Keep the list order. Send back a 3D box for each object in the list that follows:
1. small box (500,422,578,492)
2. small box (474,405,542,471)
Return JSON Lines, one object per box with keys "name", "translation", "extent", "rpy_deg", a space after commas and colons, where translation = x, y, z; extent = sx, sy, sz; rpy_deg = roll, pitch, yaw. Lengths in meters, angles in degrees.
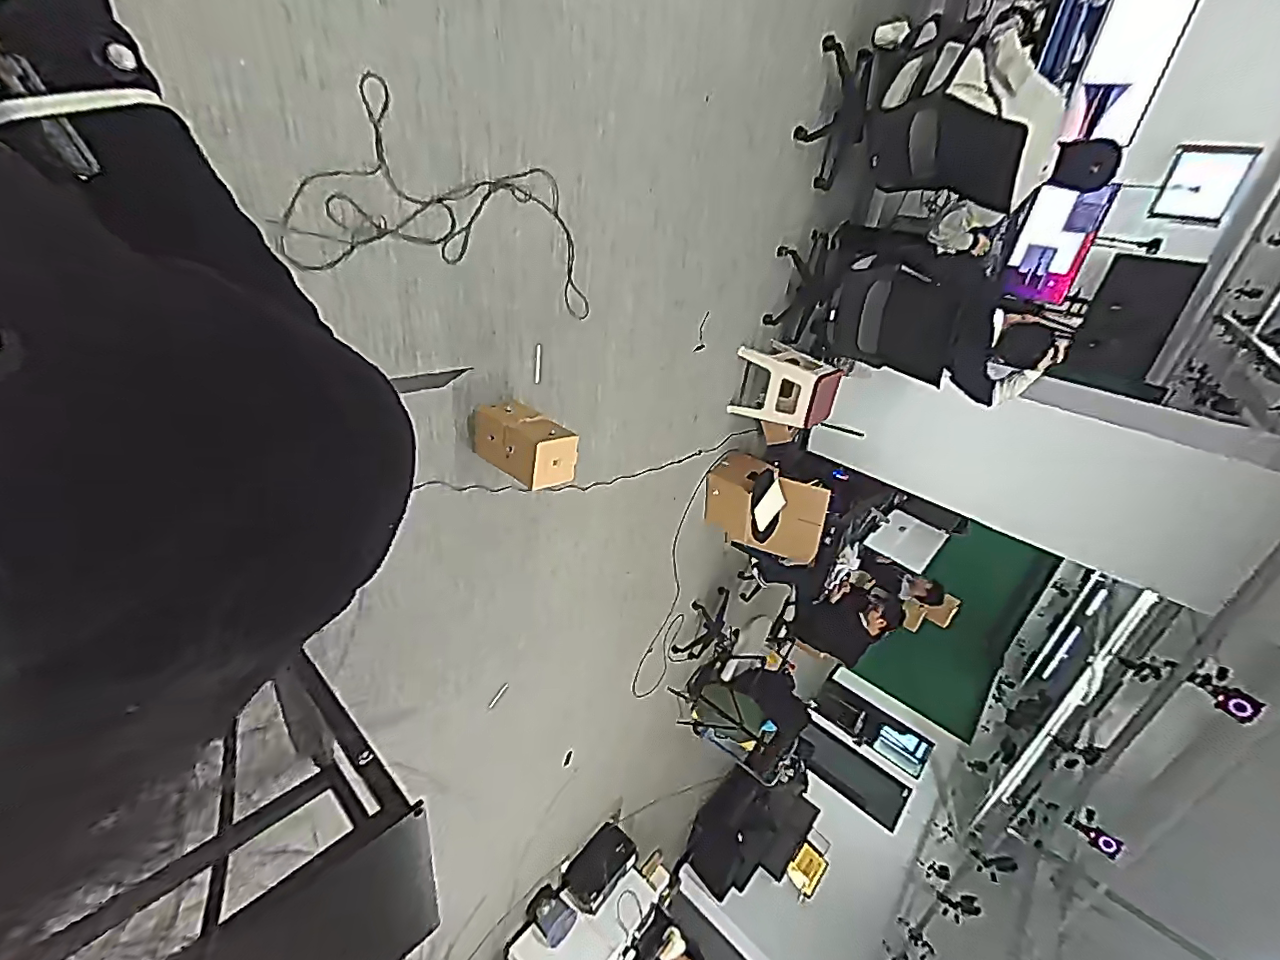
{"name": "small box", "translation": [-0.331, -0.083, 1.767], "extent": [0.179, 0.176, 0.168], "rpy_deg": [-17, 125, -46]}
{"name": "small box", "translation": [-0.454, -0.149, 1.853], "extent": [0.168, 0.176, 0.179], "rpy_deg": [-23, 129, -44]}
